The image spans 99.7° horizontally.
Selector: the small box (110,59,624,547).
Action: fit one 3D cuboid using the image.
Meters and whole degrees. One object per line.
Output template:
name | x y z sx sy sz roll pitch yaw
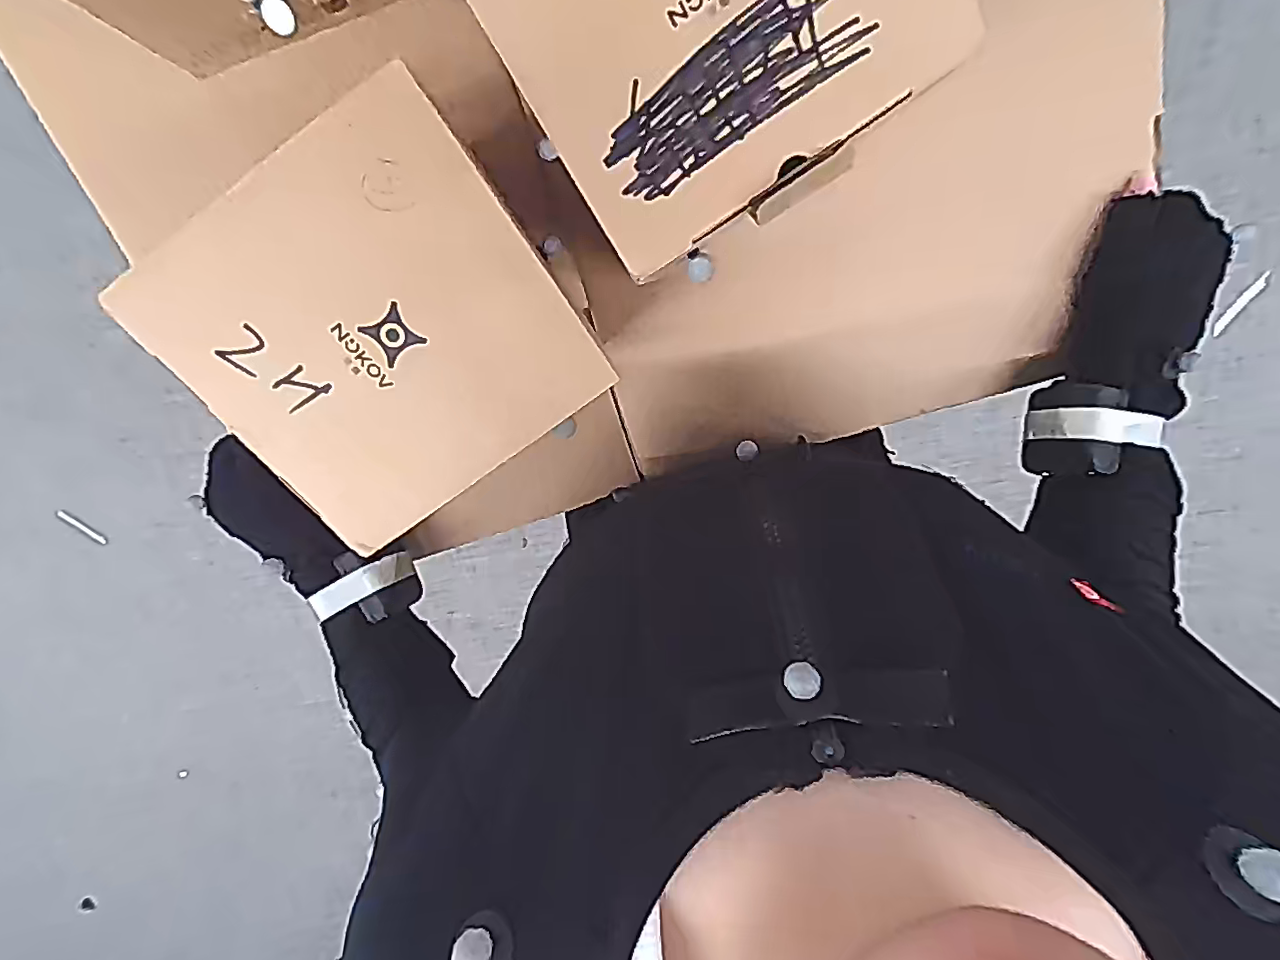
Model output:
small box | -0.133 -0.098 0.334 0.179 0.176 0.168 -33 111 5
